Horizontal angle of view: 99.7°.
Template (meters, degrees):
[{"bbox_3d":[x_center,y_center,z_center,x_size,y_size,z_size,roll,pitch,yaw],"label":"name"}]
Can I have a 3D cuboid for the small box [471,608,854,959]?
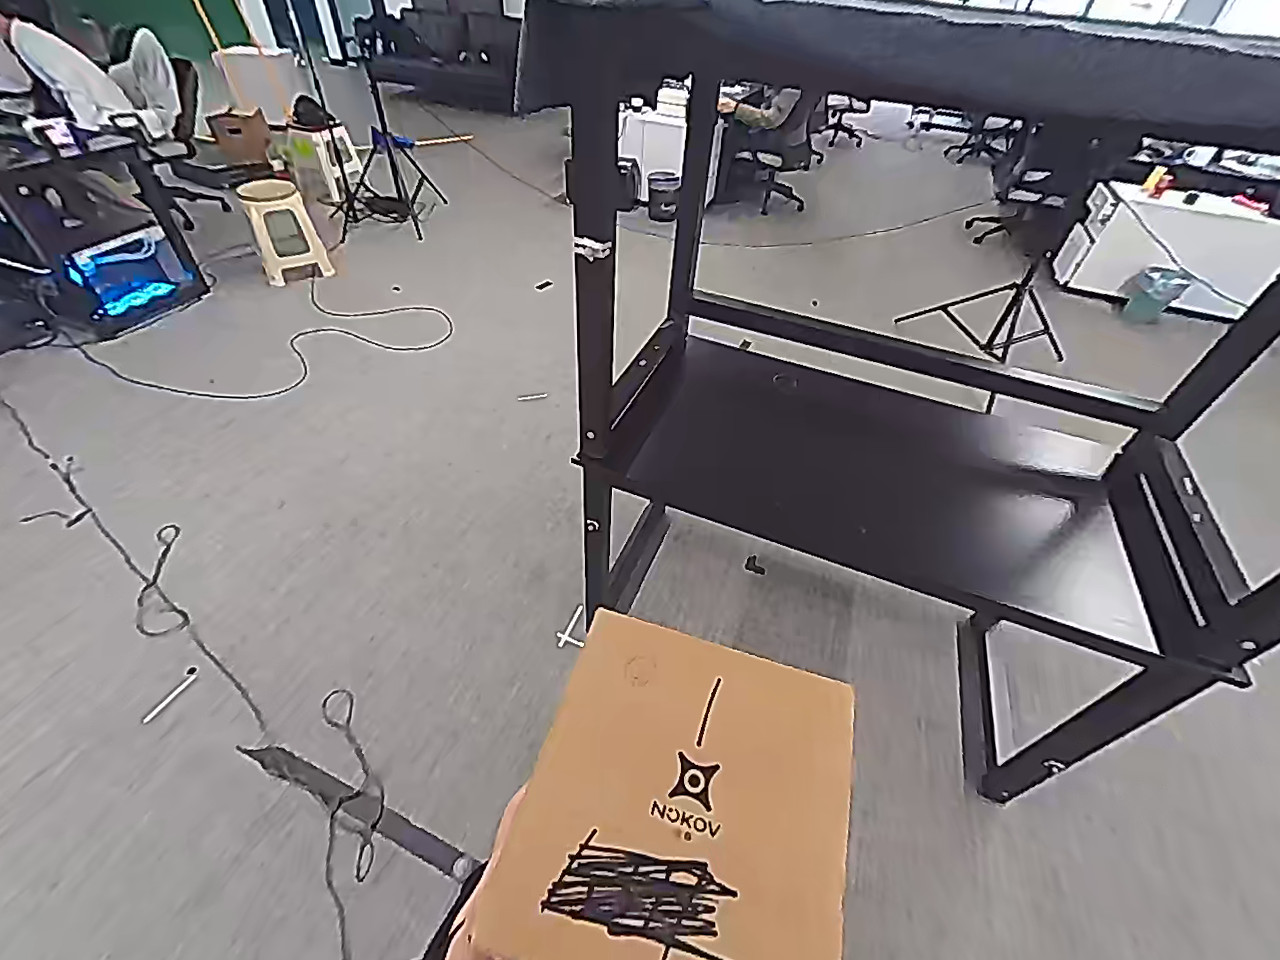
[{"bbox_3d":[0.022,0.216,0.345,0.168,0.176,0.179,15,51,9],"label":"small box"}]
